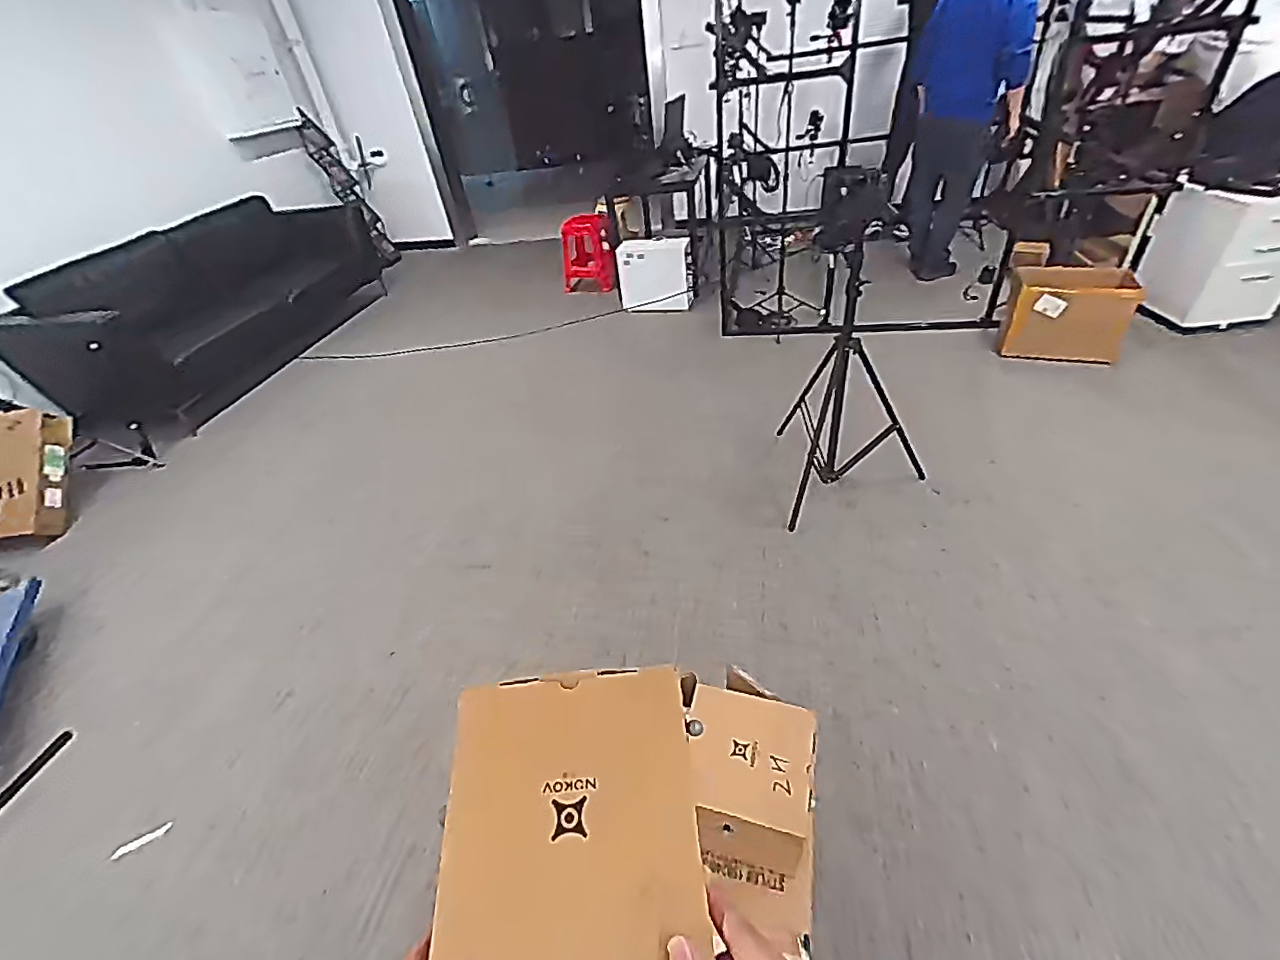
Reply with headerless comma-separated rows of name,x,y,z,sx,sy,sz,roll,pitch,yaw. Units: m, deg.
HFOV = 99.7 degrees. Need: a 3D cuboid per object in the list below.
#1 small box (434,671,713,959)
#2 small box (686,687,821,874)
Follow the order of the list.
small box,-0.040,0.268,0.416,0.168,0.176,0.179,-7,52,-1
small box,0.157,0.432,0.779,0.179,0.176,0.168,7,43,17
